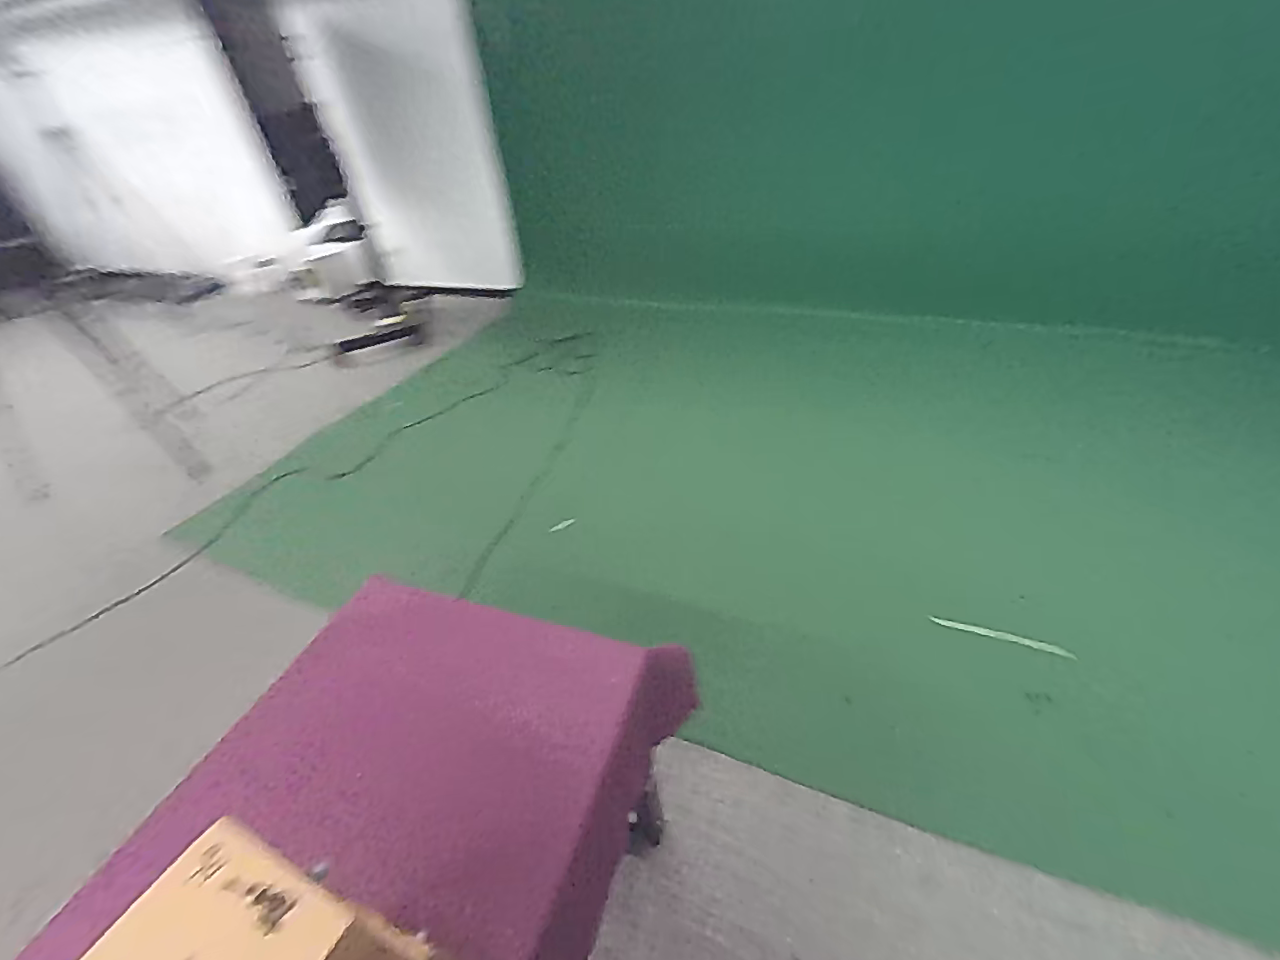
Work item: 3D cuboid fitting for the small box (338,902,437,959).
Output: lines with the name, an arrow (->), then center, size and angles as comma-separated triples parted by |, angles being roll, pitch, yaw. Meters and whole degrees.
small box -> -0.288, 0.537, 0.510 | 0.168, 0.176, 0.179 | 8, 40, 20

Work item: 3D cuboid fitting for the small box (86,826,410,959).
small box -> -0.305, 0.413, 0.403 | 0.168, 0.176, 0.179 | 12, 42, 24
